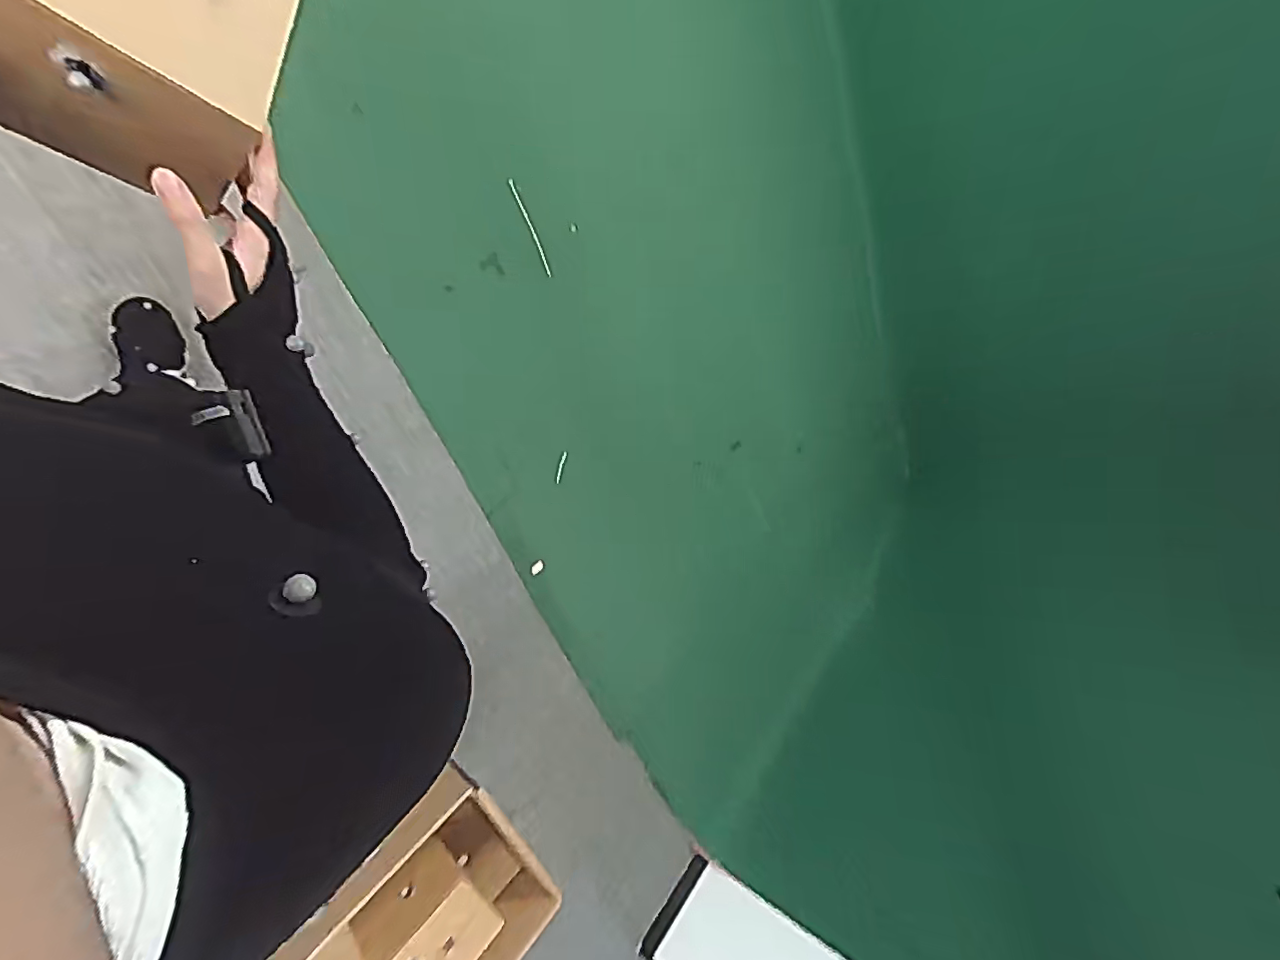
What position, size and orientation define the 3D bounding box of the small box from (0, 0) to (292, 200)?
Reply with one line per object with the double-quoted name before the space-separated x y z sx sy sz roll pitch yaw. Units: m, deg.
"small box" -0.382 -0.344 0.391 0.179 0.176 0.168 19 71 -47
